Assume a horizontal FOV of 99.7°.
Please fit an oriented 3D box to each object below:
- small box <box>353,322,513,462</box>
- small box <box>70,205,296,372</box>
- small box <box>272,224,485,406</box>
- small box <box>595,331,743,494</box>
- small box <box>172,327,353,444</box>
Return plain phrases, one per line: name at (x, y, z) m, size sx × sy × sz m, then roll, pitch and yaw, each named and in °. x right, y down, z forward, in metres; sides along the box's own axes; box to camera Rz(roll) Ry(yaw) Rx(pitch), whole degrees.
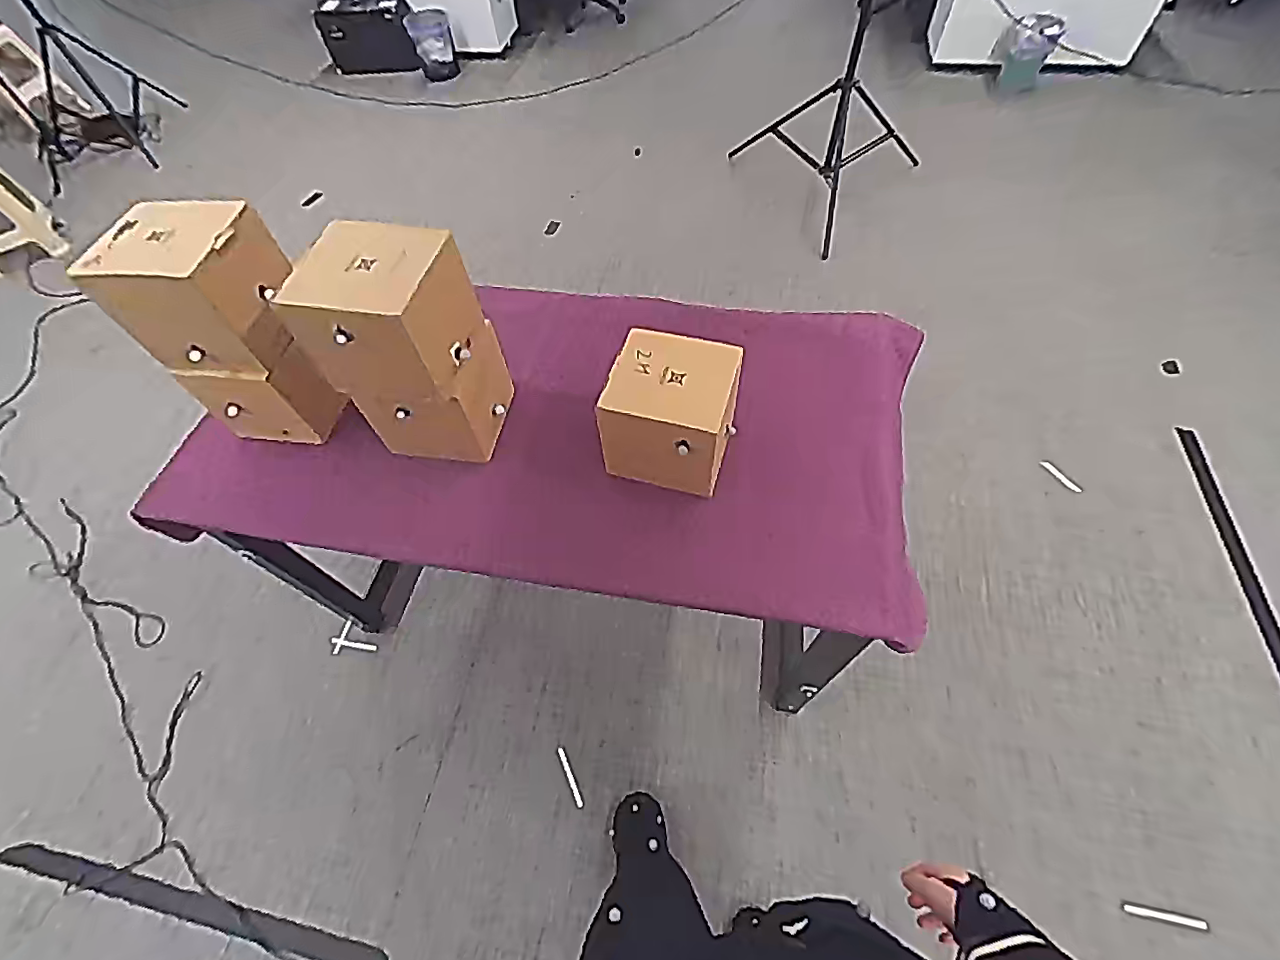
small box at (-0.329, -0.145, 0.885) m, size 0.179 × 0.176 × 0.168 m, roll 6°, pitch 58°, yaw 6°
small box at (-0.631, -0.274, 0.791) m, size 0.179 × 0.176 × 0.168 m, roll 3°, pitch 57°, yaw 4°
small box at (-0.339, -0.221, 0.742) m, size 0.179 × 0.176 × 0.168 m, roll 9°, pitch 60°, yaw 7°
small box at (0.047, -0.097, 0.833) m, size 0.179 × 0.176 × 0.168 m, roll 14°, pitch 58°, yaw 12°
small box at (-0.619, -0.179, 0.924) m, size 0.168 × 0.176 × 0.179 m, roll 5°, pitch 57°, yaw 6°
